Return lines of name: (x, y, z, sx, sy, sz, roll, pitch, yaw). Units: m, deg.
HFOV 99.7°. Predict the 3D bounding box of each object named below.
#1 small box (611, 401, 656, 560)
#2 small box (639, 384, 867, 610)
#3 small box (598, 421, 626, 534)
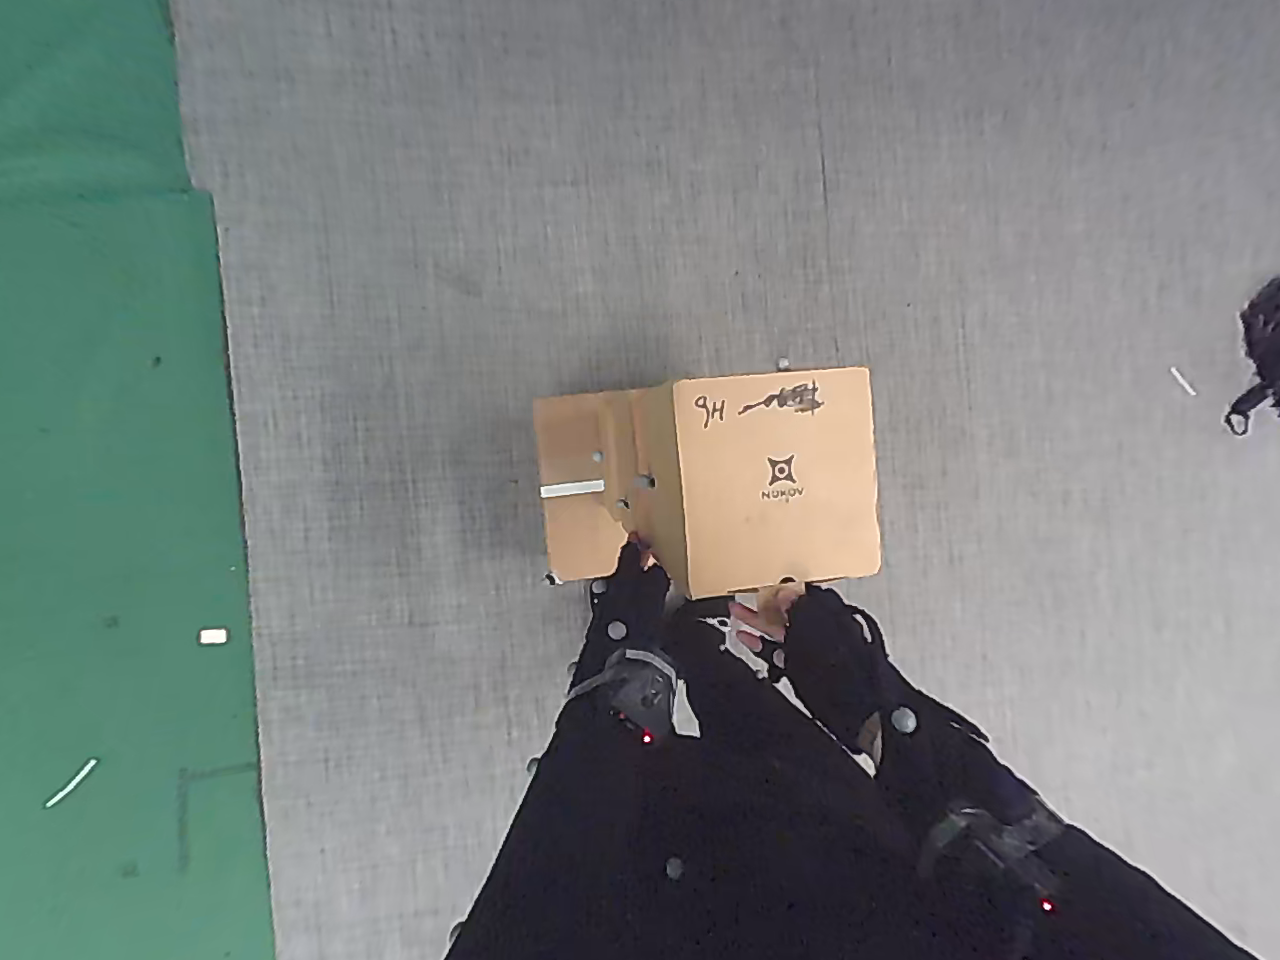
small box: (0.058, -0.010, 0.679, 0.168, 0.176, 0.179, -7, 94, -8)
small box: (0.096, 0.006, 0.520, 0.168, 0.176, 0.179, -6, 95, -8)
small box: (0.036, -0.021, 0.839, 0.179, 0.176, 0.168, -8, 95, -8)
